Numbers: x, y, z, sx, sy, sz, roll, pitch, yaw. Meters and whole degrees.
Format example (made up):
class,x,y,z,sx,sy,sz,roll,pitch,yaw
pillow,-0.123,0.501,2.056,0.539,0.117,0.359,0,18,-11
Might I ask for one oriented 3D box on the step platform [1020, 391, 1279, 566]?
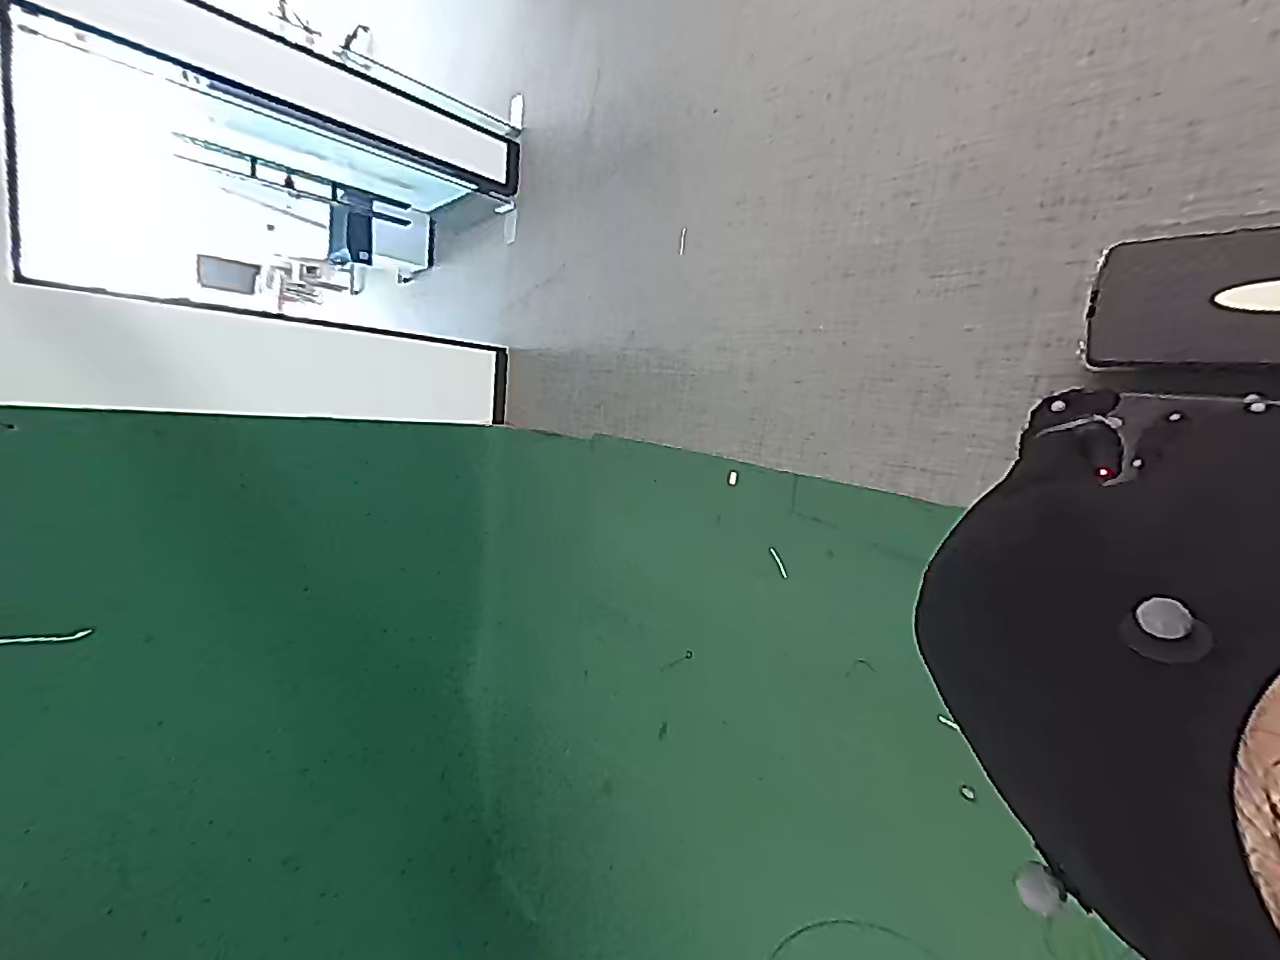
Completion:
class,x,y,z,sx,sy,sz,roll,pitch,yaw
step platform,1.088,0.010,0.932,0.684,0.204,0.286,14,101,45
